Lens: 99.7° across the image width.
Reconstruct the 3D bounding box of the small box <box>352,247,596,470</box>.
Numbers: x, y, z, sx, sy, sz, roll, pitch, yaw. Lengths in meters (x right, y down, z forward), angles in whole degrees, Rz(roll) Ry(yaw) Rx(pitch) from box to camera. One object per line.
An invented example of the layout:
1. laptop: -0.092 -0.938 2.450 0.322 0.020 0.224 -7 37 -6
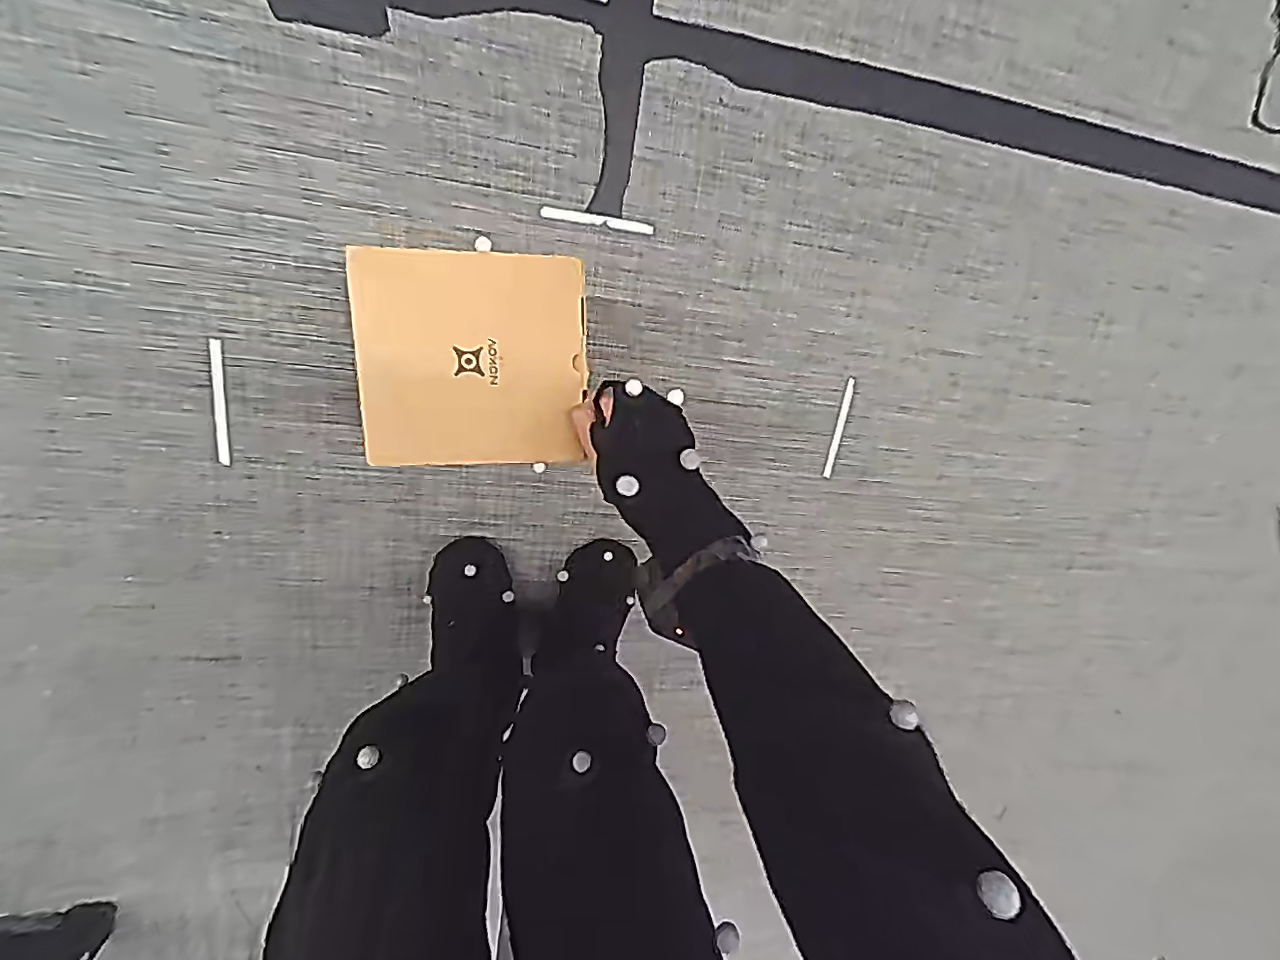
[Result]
1. small box: -0.135 -0.106 0.491 0.179 0.176 0.168 -3 104 -11
